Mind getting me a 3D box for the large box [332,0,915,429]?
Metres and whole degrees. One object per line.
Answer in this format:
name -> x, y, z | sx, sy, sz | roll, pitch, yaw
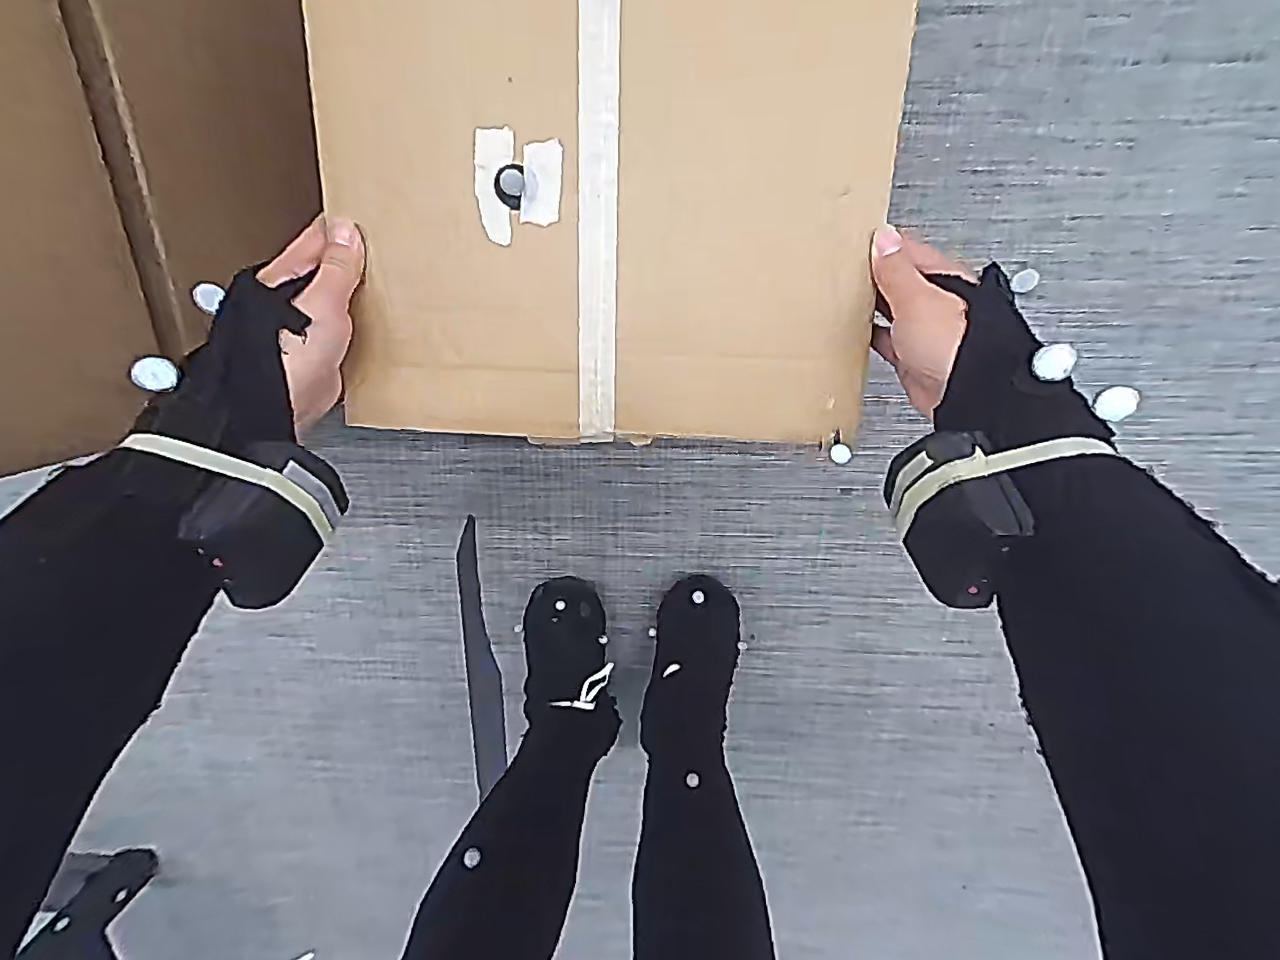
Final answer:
large box -> -0.007, -0.266, 0.431 | 0.320, 0.320, 0.408 | 2, 105, 2
